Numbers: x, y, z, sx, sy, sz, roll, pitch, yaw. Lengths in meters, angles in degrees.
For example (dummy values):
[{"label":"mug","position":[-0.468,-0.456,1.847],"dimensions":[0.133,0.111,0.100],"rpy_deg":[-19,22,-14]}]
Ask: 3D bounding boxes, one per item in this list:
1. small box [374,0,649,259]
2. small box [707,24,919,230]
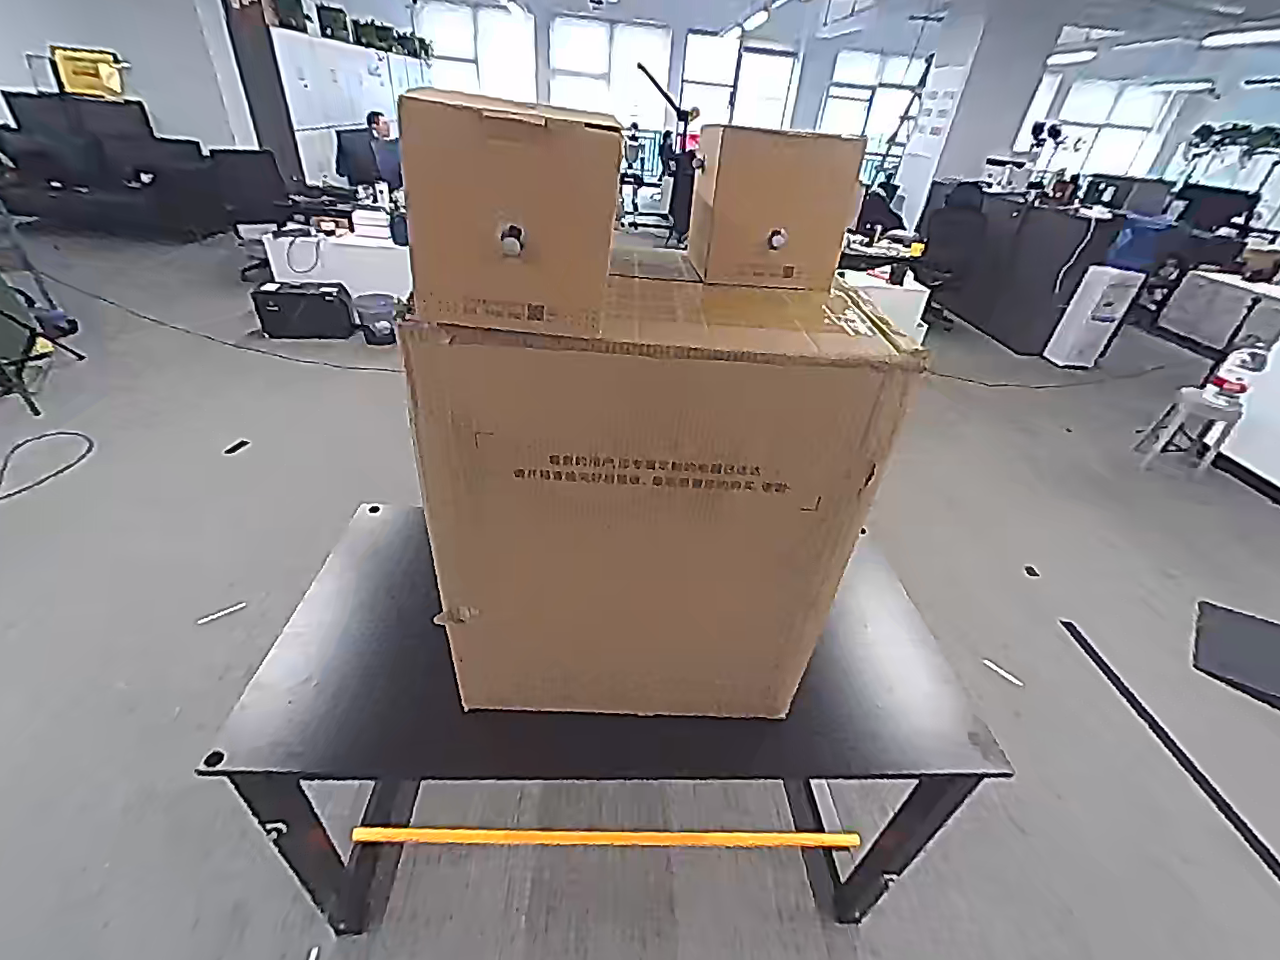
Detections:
[{"label":"small box","position":[-0.091,-0.289,0.427],"dimensions":[0.168,0.176,0.179],"rpy_deg":[3,38,-10]},{"label":"small box","position":[0.179,-0.399,0.626],"dimensions":[0.168,0.176,0.179],"rpy_deg":[1,33,-5]}]
